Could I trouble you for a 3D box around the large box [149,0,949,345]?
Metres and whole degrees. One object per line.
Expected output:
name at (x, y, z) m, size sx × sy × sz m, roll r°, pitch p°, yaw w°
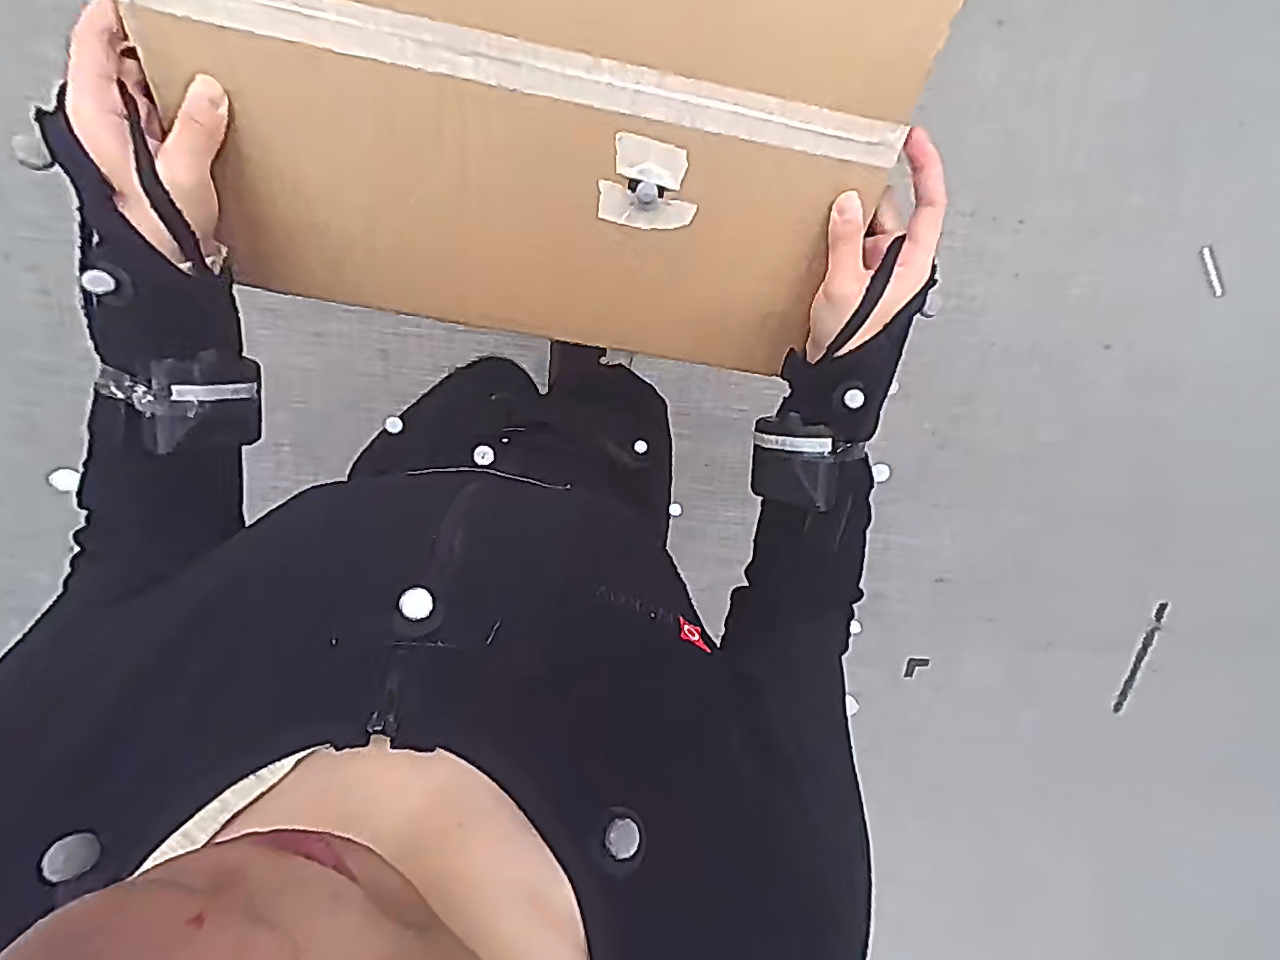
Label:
large box at (-0.050, -0.335, 0.391) m, size 0.408 × 0.320 × 0.320 m, roll 7°, pitch 134°, yaw -7°
